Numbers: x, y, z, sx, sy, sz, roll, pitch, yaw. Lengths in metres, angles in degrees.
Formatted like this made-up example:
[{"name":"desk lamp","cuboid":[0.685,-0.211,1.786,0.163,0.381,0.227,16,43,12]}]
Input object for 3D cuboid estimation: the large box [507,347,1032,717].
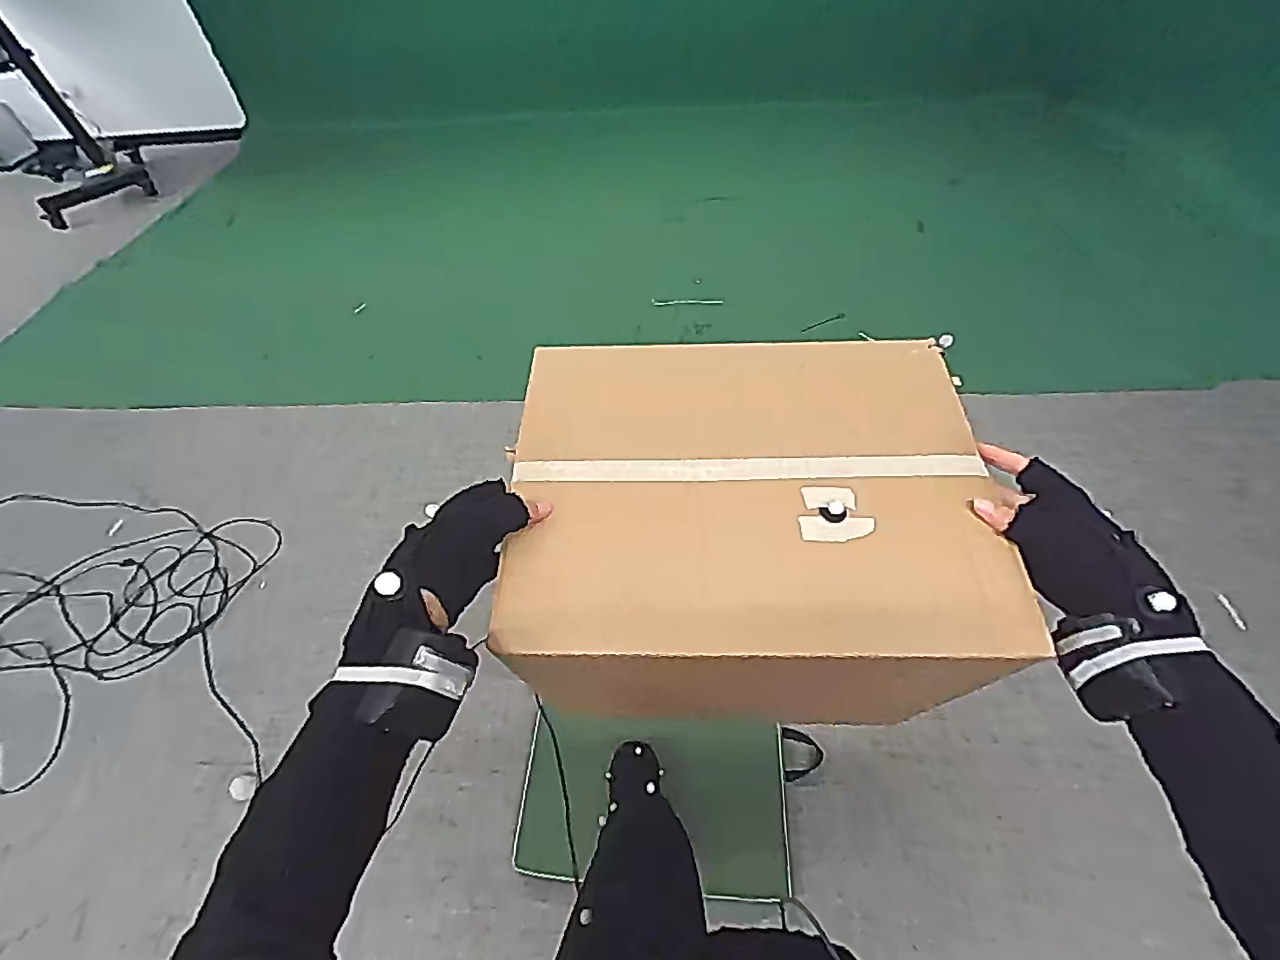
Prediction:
[{"name":"large box","cuboid":[0.097,0.074,0.609,0.408,0.320,0.320,0,58,2]}]
